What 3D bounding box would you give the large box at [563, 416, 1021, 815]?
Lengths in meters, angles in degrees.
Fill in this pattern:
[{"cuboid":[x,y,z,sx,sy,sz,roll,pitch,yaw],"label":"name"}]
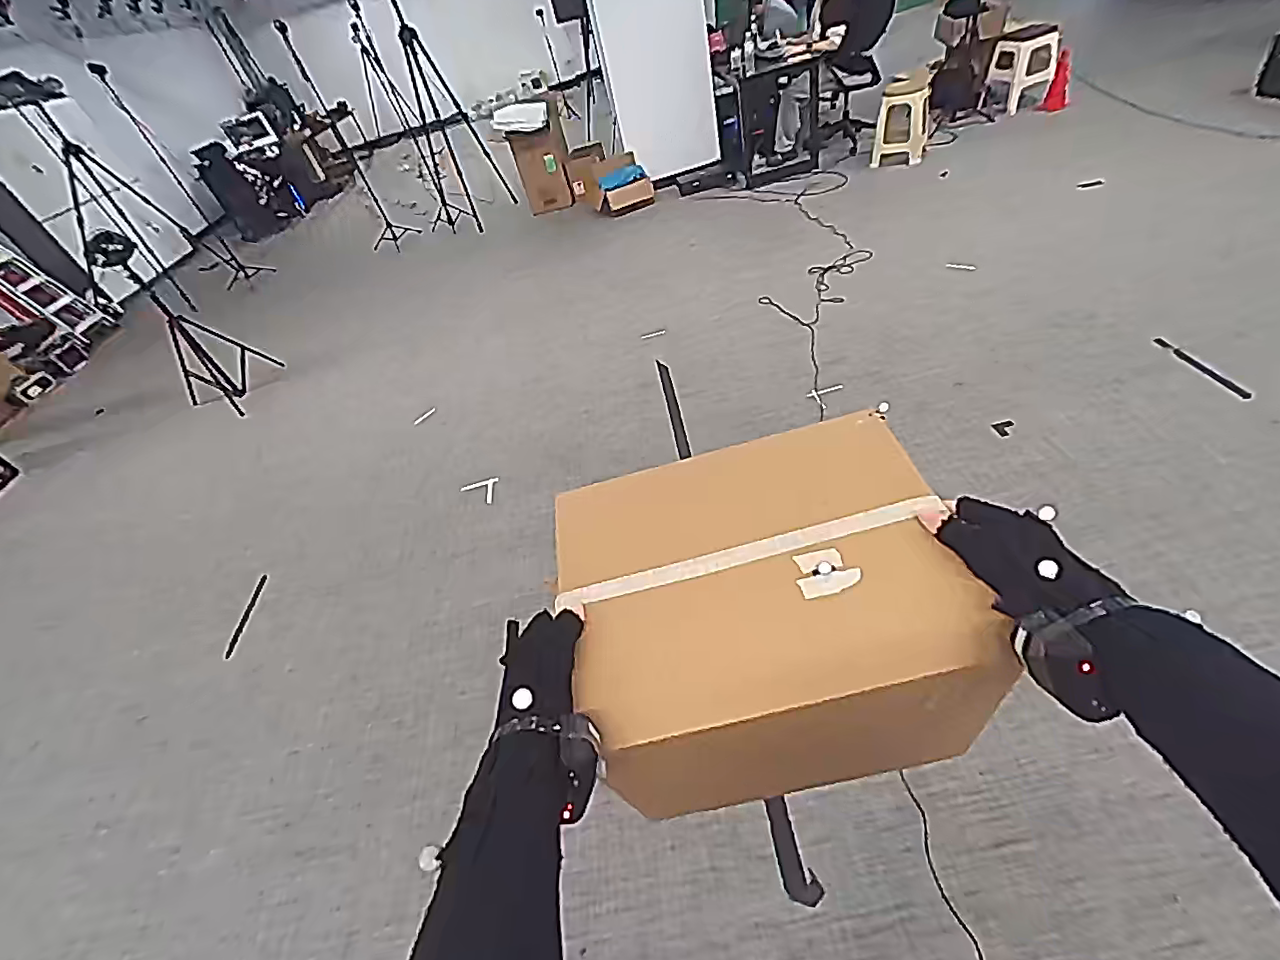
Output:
[{"cuboid":[0.147,0.178,0.680,0.408,0.320,0.320,-15,48,4],"label":"large box"}]
